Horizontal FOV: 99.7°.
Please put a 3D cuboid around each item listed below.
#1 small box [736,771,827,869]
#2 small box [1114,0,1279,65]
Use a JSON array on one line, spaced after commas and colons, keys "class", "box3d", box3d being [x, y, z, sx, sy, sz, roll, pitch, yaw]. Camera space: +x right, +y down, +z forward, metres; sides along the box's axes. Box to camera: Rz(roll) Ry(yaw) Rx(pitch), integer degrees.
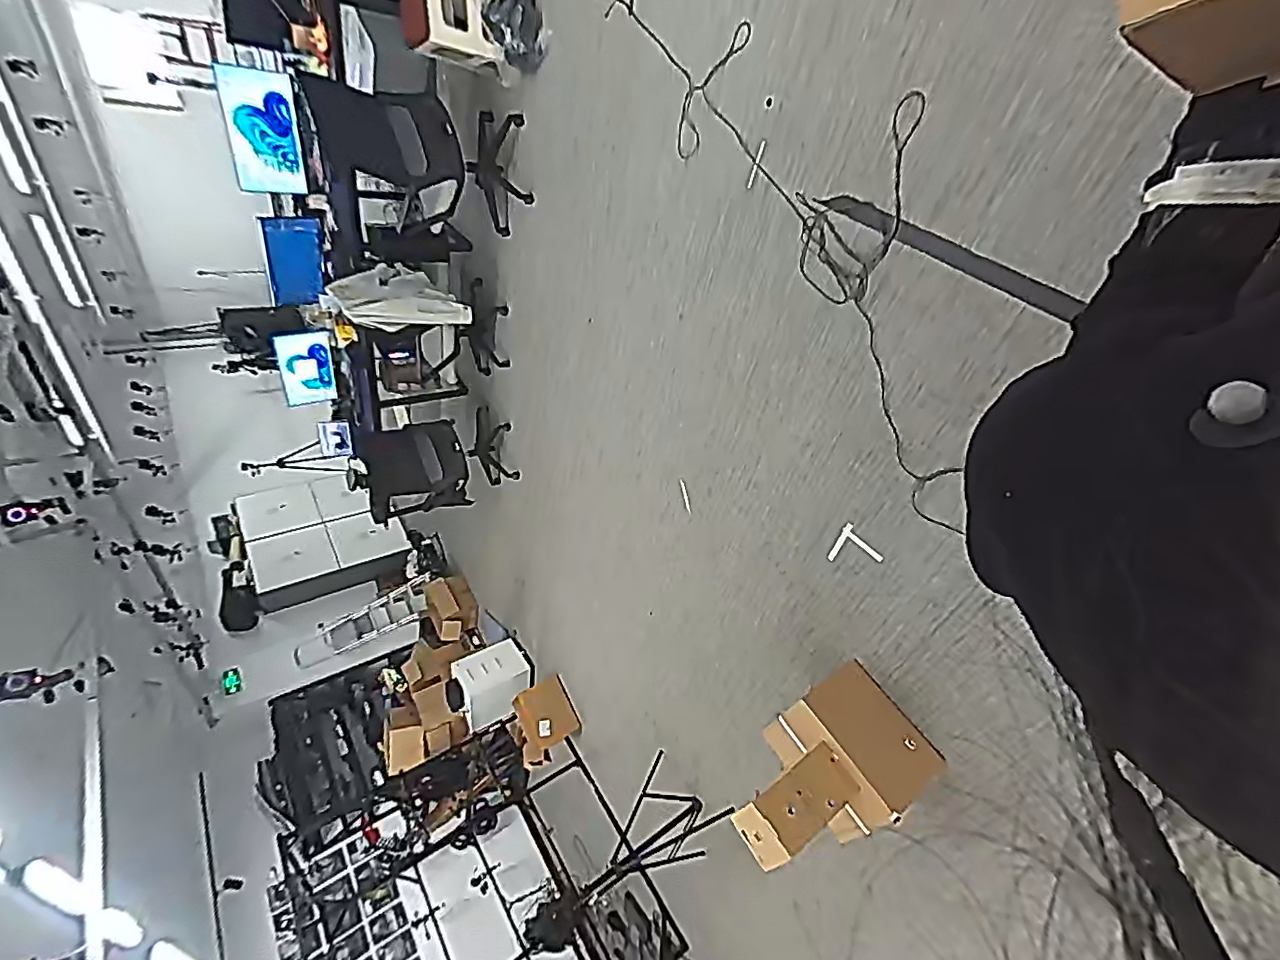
[{"class": "small box", "box3d": [0.422, 0.998, 1.597, 0.168, 0.176, 0.179, 51, 140, 29]}, {"class": "small box", "box3d": [0.312, -0.294, 0.203, 0.168, 0.176, 0.179, 10, 111, 52]}]
